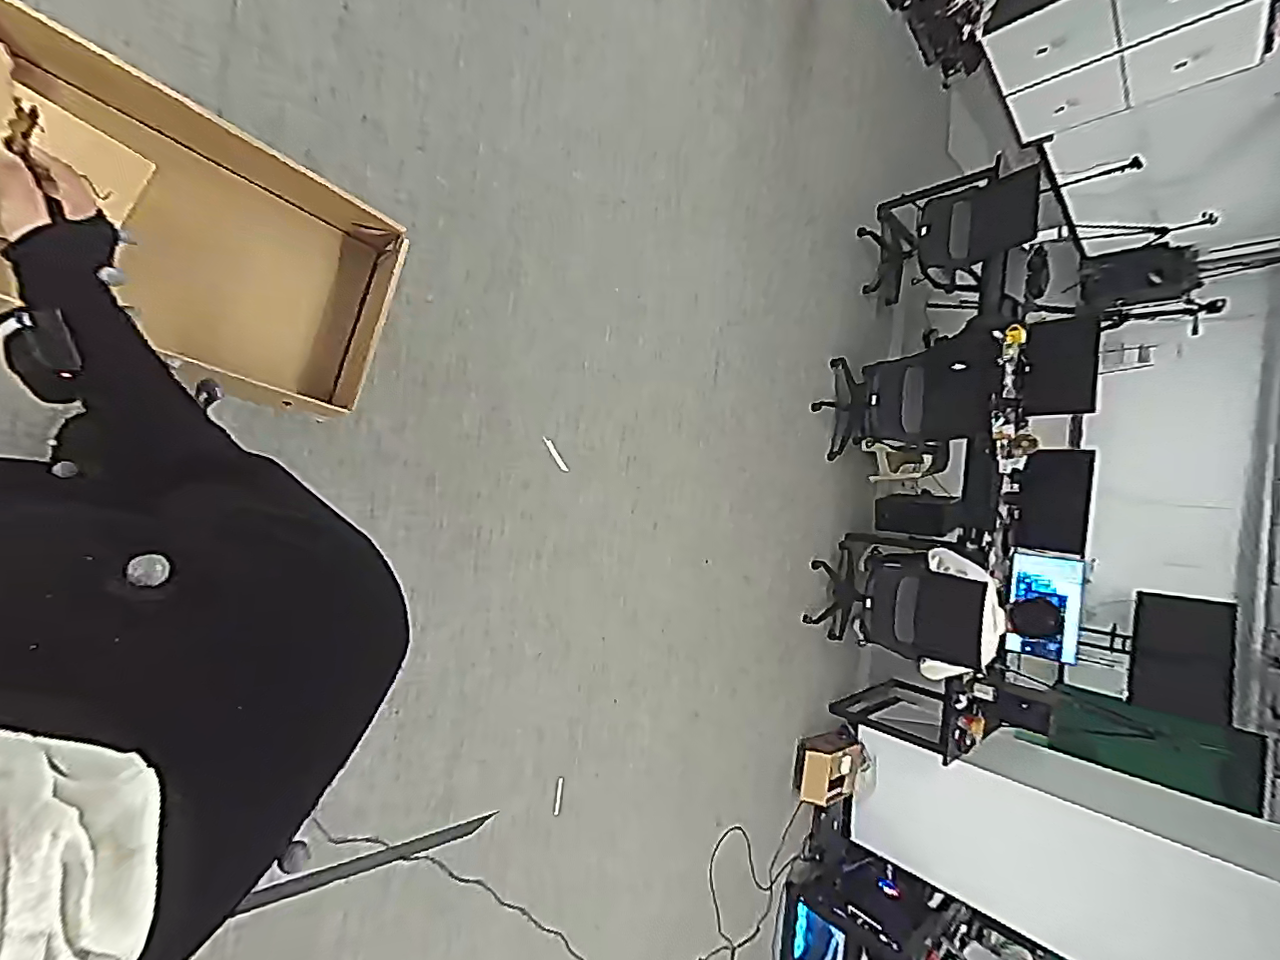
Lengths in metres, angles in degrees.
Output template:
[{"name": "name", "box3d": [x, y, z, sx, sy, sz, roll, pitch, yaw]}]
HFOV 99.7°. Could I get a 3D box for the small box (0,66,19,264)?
[{"name": "small box", "box3d": [-0.683, -0.295, 0.470, 0.179, 0.176, 0.168, -6, 100, -49]}]
